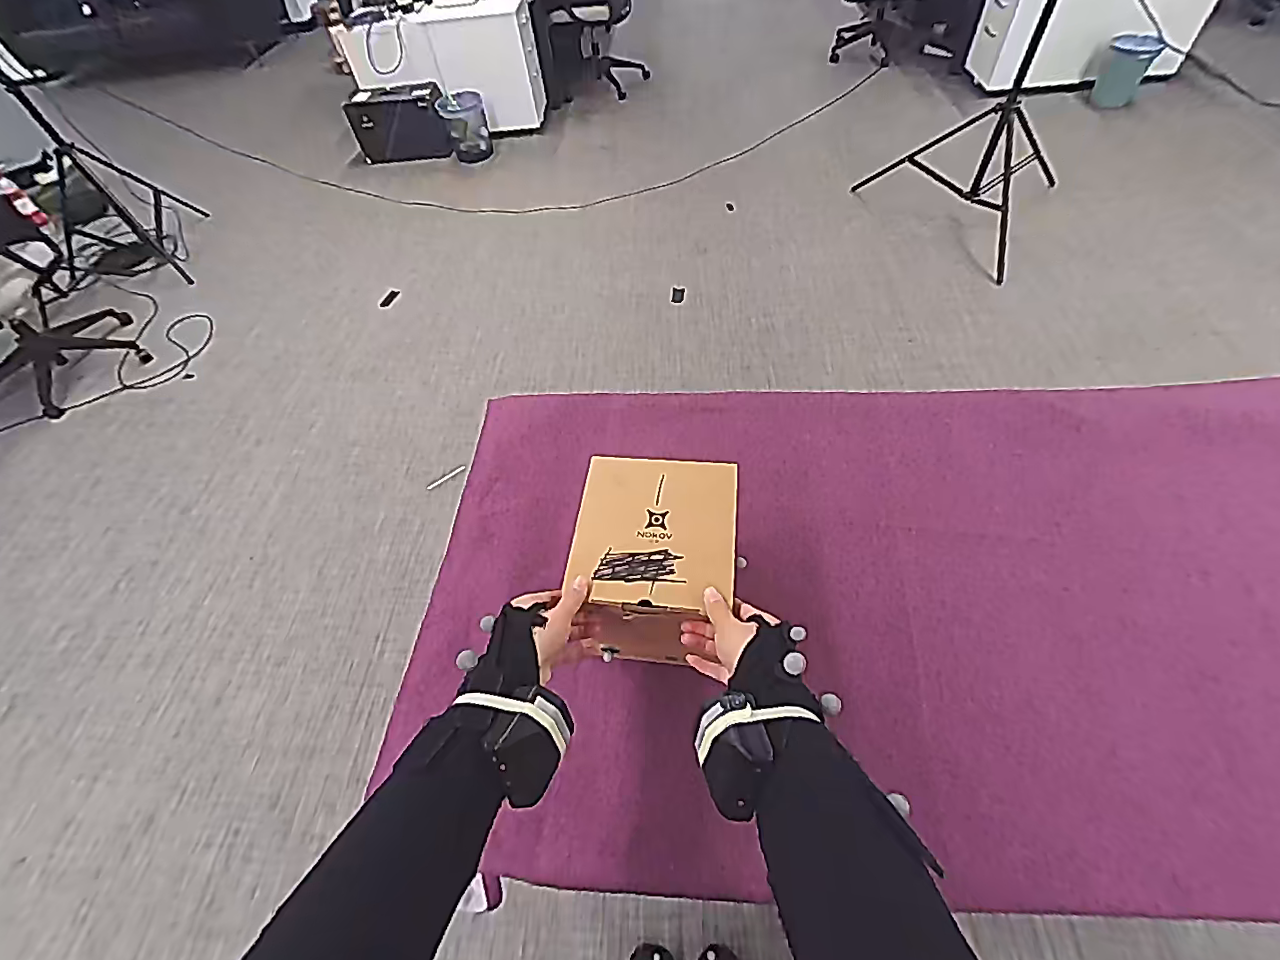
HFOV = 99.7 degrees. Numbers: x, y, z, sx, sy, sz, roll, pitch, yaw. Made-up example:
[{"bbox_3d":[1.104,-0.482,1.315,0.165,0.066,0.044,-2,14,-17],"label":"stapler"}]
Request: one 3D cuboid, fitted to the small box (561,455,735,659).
[{"bbox_3d":[0.021,0.092,0.622,0.168,0.176,0.179,3,54,8],"label":"small box"}]
